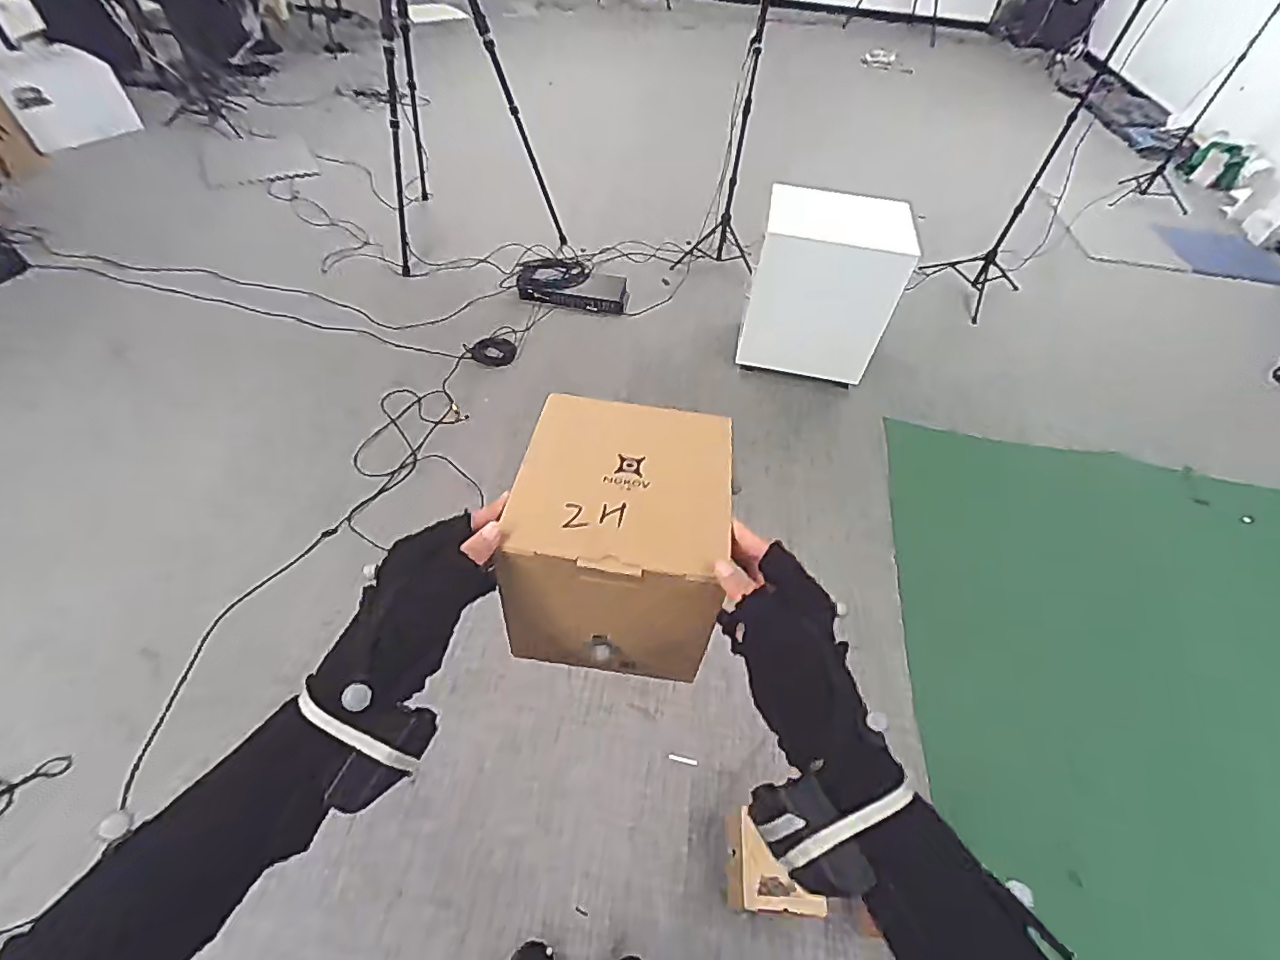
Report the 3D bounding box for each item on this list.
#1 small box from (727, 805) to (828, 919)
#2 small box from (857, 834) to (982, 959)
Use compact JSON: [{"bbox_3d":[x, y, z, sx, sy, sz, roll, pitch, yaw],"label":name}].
[{"bbox_3d":[0.283,0.813,1.150,0.168,0.176,0.179,7,50,0],"label":"small box"},{"bbox_3d":[0.570,0.869,1.132,0.168,0.176,0.179,9,51,3],"label":"small box"}]
